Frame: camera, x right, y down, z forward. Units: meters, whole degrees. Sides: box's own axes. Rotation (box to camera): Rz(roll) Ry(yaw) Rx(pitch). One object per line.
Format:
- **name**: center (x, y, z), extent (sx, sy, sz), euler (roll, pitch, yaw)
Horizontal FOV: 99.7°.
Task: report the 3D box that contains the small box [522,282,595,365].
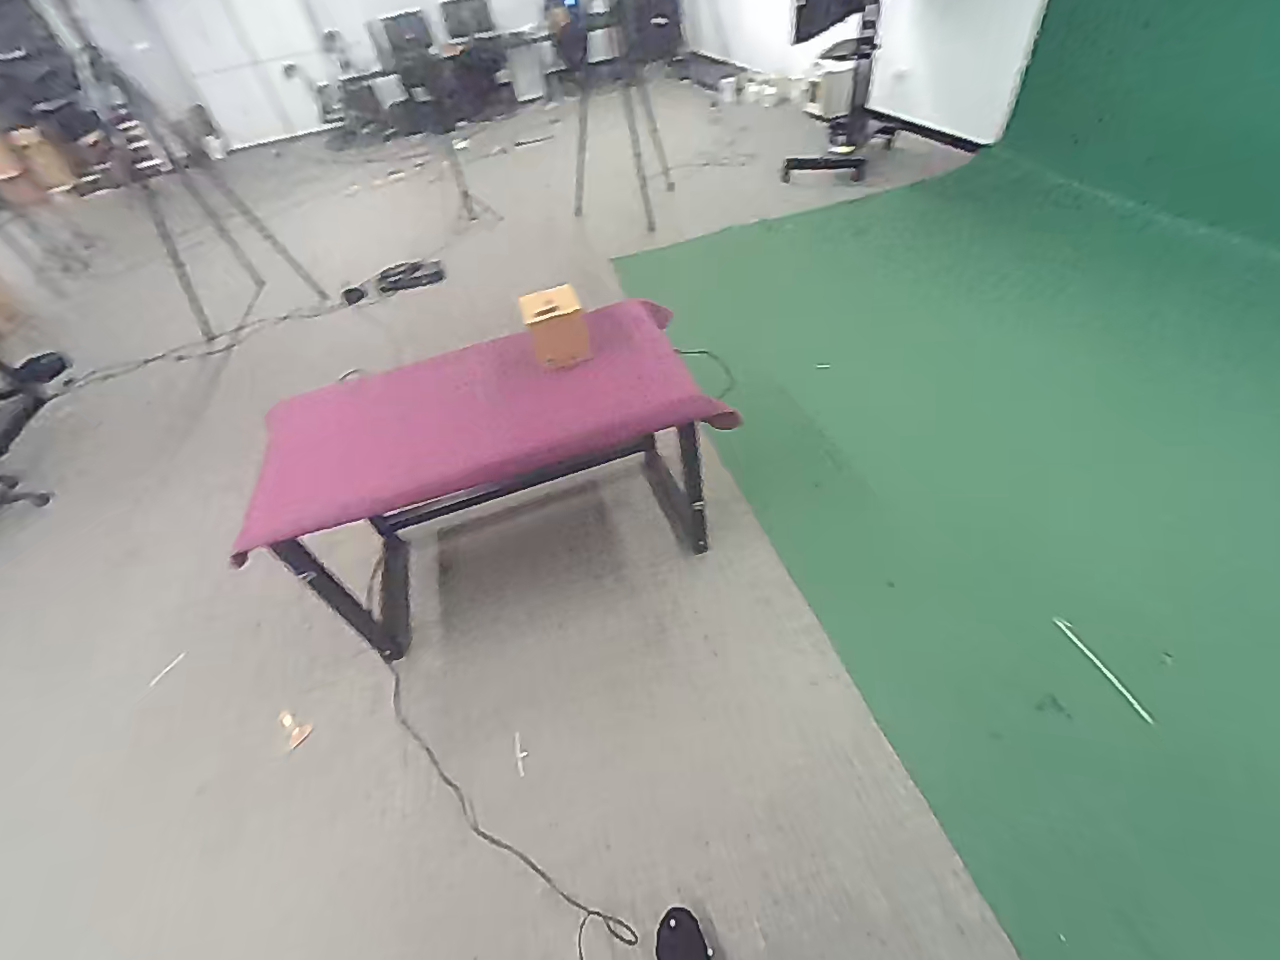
- **small box**: center (-0.244, -0.465, 1.633), extent (0.168, 0.176, 0.179), euler (-17, 45, -5)
